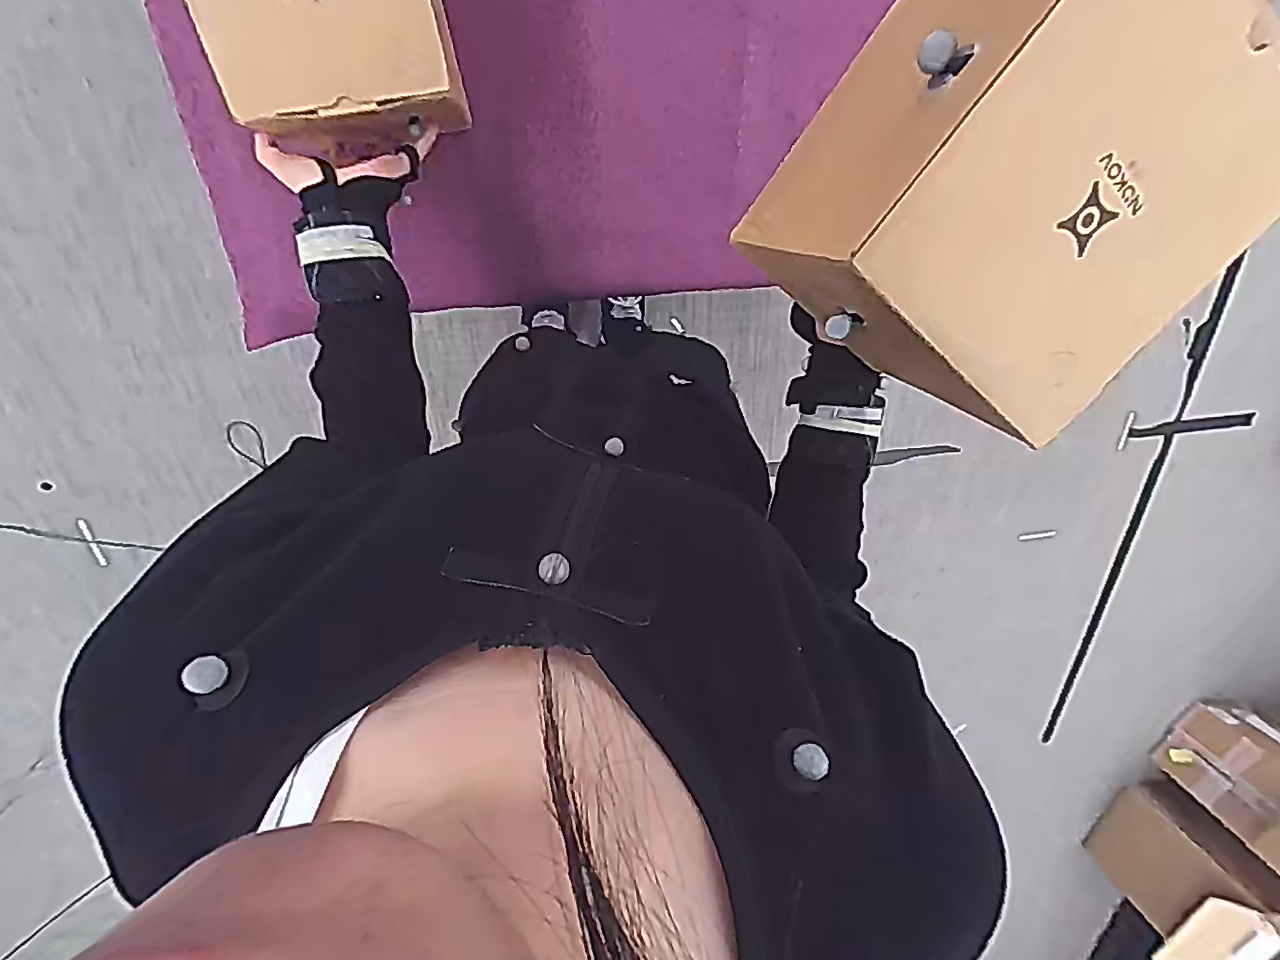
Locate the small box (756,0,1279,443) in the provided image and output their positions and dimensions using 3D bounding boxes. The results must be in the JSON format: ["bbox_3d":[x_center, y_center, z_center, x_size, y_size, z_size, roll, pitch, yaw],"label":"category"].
[{"bbox_3d":[0.191,-0.157,0.315,0.168,0.176,0.179,31,106,-23],"label":"small box"}]

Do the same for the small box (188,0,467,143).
[{"bbox_3d":[-0.252,-0.396,0.450,0.168,0.176,0.179,-13,116,-7],"label":"small box"}]

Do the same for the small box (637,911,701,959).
[{"bbox_3d":[0.088,1.504,1.710,0.168,0.176,0.179,-2,115,-10],"label":"small box"}]
